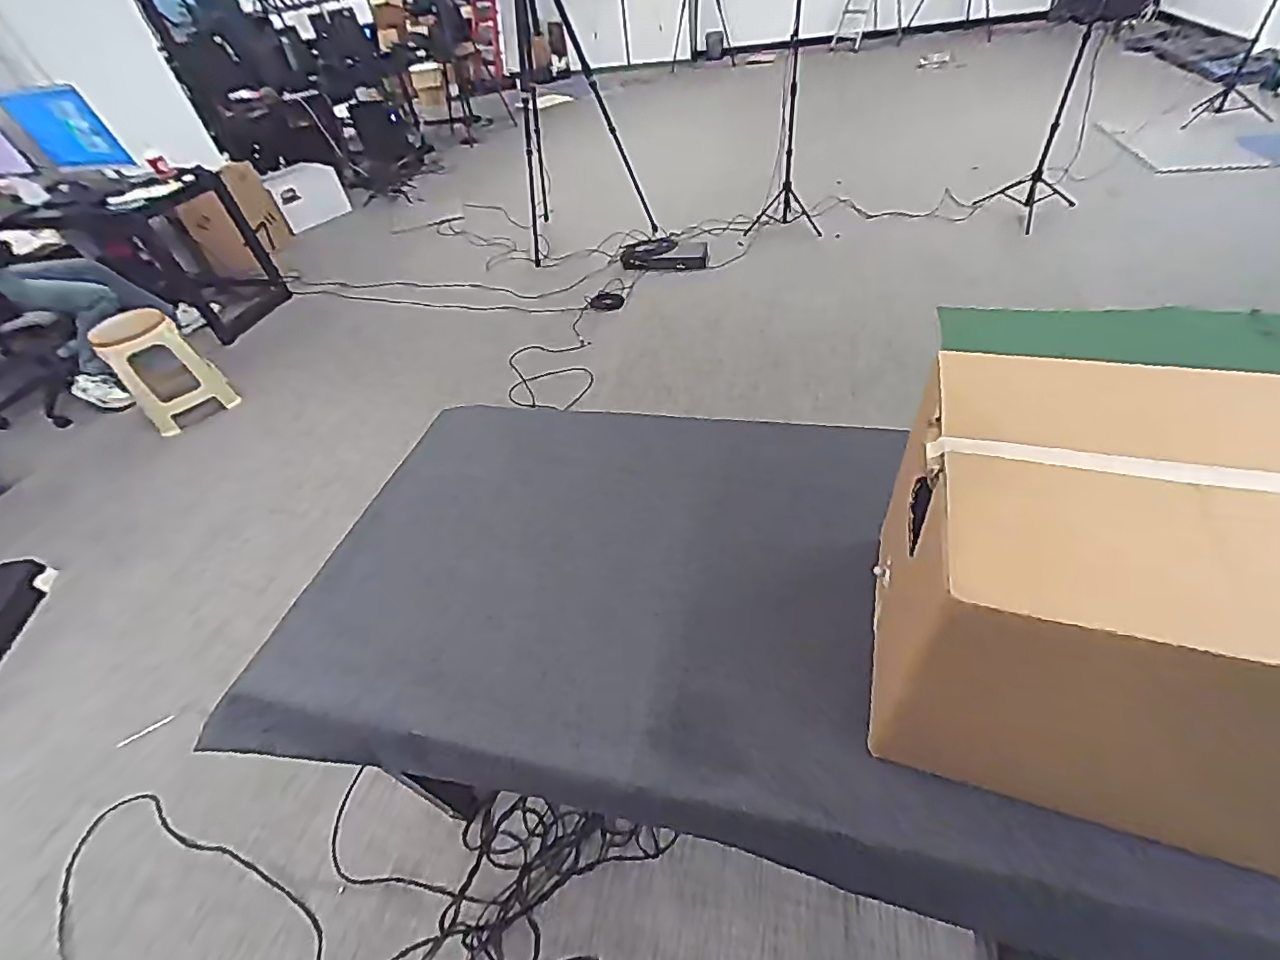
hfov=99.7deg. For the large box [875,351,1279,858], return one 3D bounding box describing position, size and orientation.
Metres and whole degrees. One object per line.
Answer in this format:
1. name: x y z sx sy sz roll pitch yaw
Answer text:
1. large box: 0.465 0.105 0.512 0.408 0.320 0.320 10 49 18
